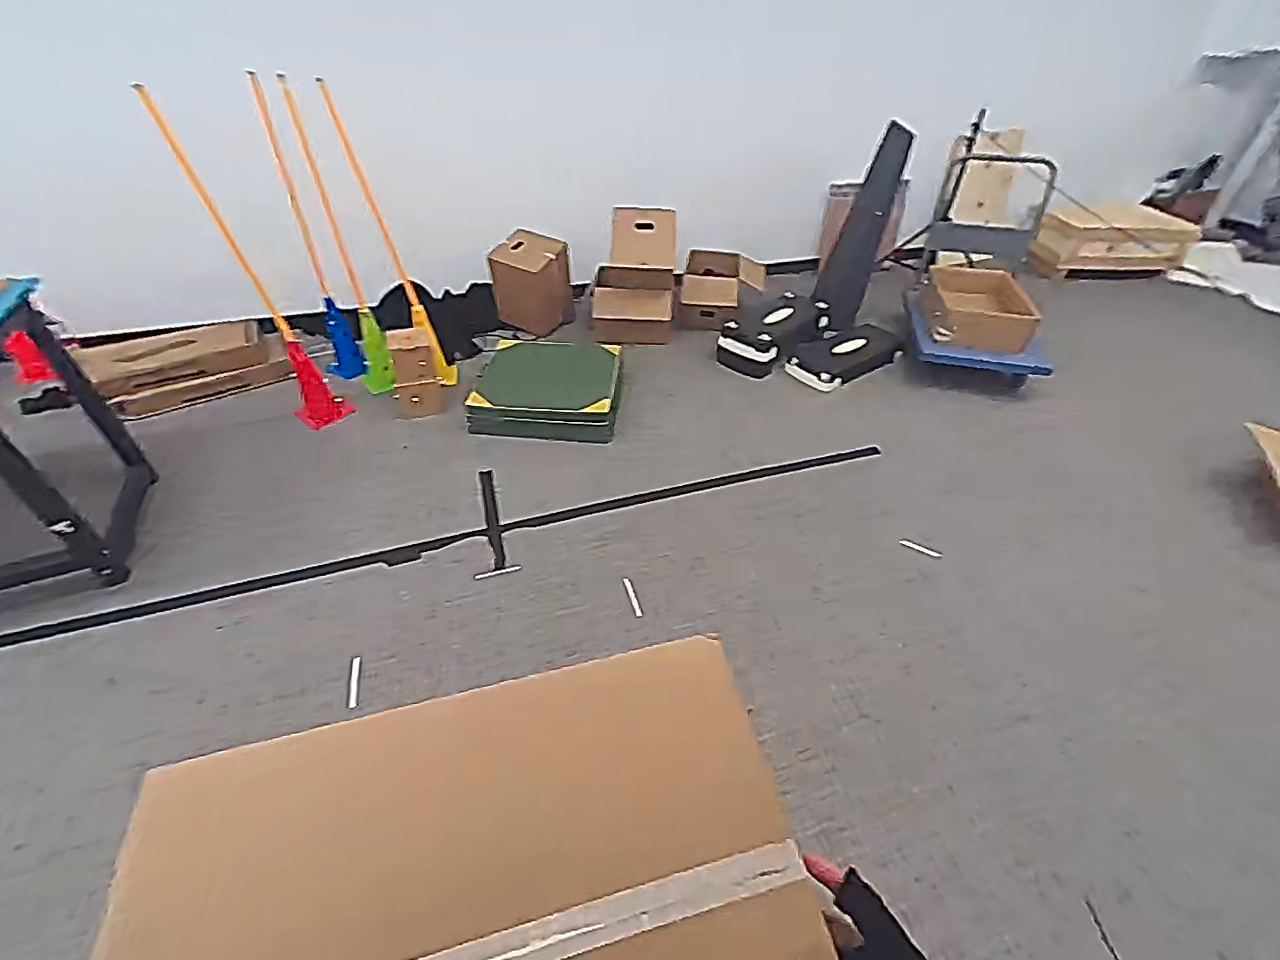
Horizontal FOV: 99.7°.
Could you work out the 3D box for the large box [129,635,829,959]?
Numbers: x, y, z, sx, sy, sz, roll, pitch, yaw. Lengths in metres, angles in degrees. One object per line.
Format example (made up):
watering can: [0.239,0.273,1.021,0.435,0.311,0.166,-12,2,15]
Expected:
large box: [-0.097,0.375,0.431,0.408,0.320,0.320,-11,52,-10]
